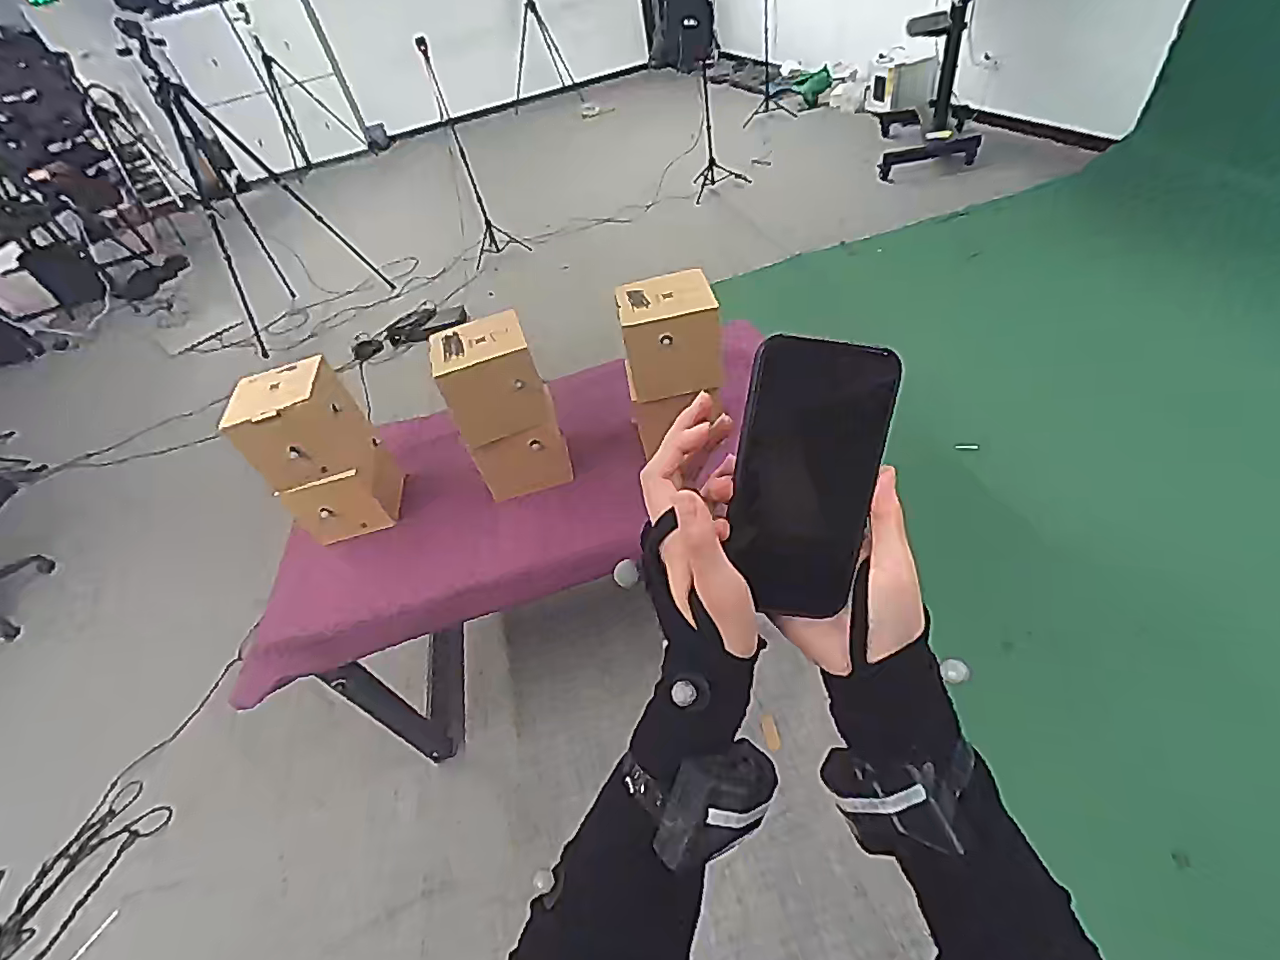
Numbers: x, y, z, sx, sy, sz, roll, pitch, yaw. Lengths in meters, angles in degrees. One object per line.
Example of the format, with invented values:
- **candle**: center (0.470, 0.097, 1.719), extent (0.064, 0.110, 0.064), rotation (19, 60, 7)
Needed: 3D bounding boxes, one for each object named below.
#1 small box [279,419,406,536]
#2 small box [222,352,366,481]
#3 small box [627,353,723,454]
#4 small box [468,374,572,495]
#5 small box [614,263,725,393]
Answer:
- **small box**: center (-0.631, 0.001, 1.174), extent (0.168, 0.176, 0.179), rotation (-16, 44, 0)
- **small box**: center (-0.665, -0.118, 1.066), extent (0.168, 0.176, 0.179), rotation (-19, 45, -5)
- **small box**: center (0.078, -0.181, 1.160), extent (0.179, 0.176, 0.168), rotation (-12, 44, 4)
- **small box**: center (-0.252, -0.096, 1.164), extent (0.179, 0.176, 0.168), rotation (-16, 44, -1)
- **small box**: center (0.057, -0.287, 1.036), extent (0.179, 0.176, 0.168), rotation (-12, 44, 3)
